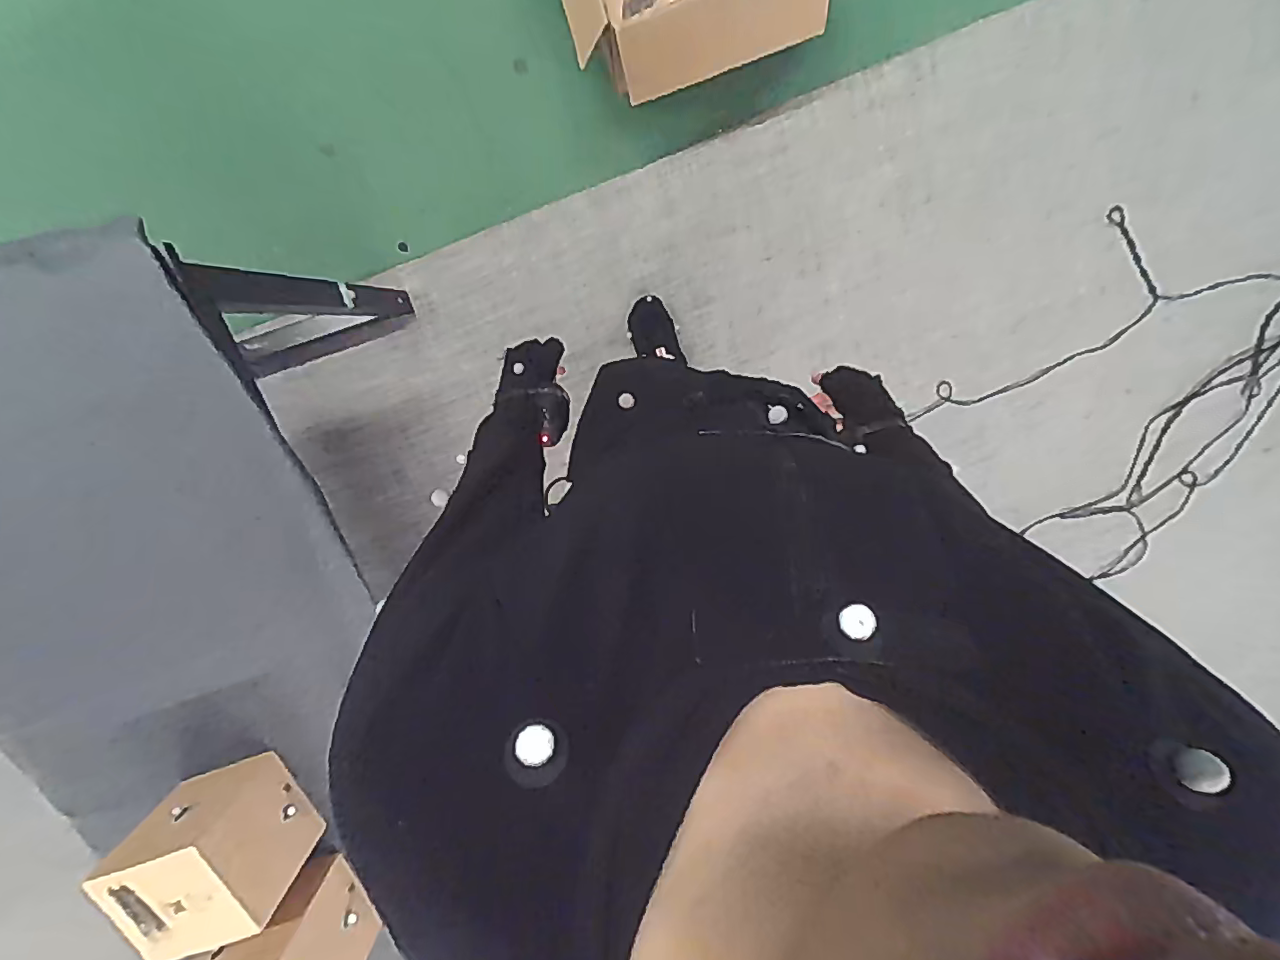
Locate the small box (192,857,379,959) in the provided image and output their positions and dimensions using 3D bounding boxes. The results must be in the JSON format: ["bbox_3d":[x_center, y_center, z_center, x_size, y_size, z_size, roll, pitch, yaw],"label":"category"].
[{"bbox_3d":[-0.551,0.739,0.843,0.179,0.176,0.168,-18,105,5],"label":"small box"}]
